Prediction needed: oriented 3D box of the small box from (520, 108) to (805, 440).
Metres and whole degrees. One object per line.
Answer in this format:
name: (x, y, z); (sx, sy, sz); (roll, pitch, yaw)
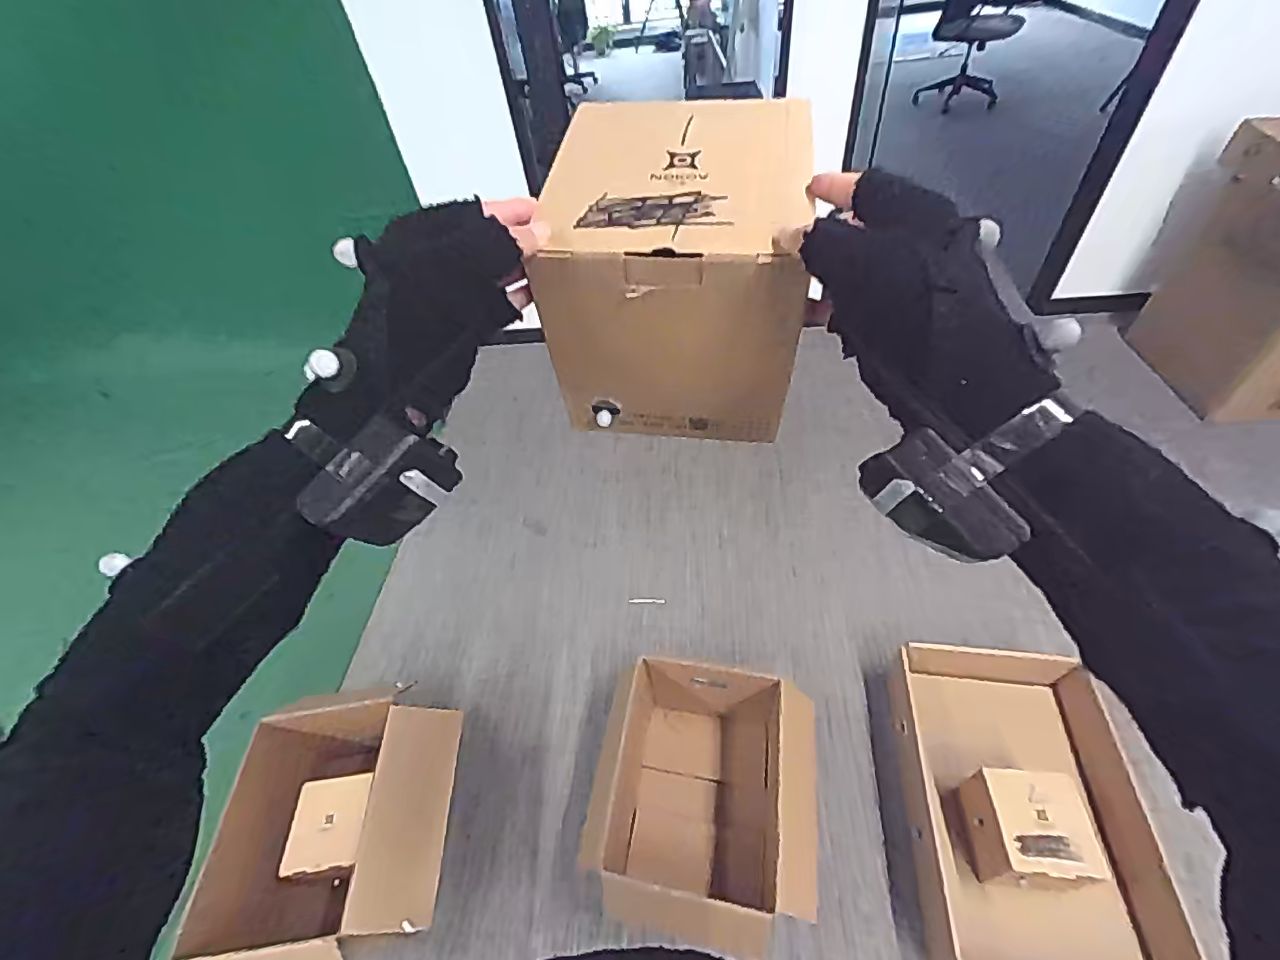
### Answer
small box: (0.029, -0.147, 0.412); (0.168, 0.176, 0.179); (4, 58, 9)
